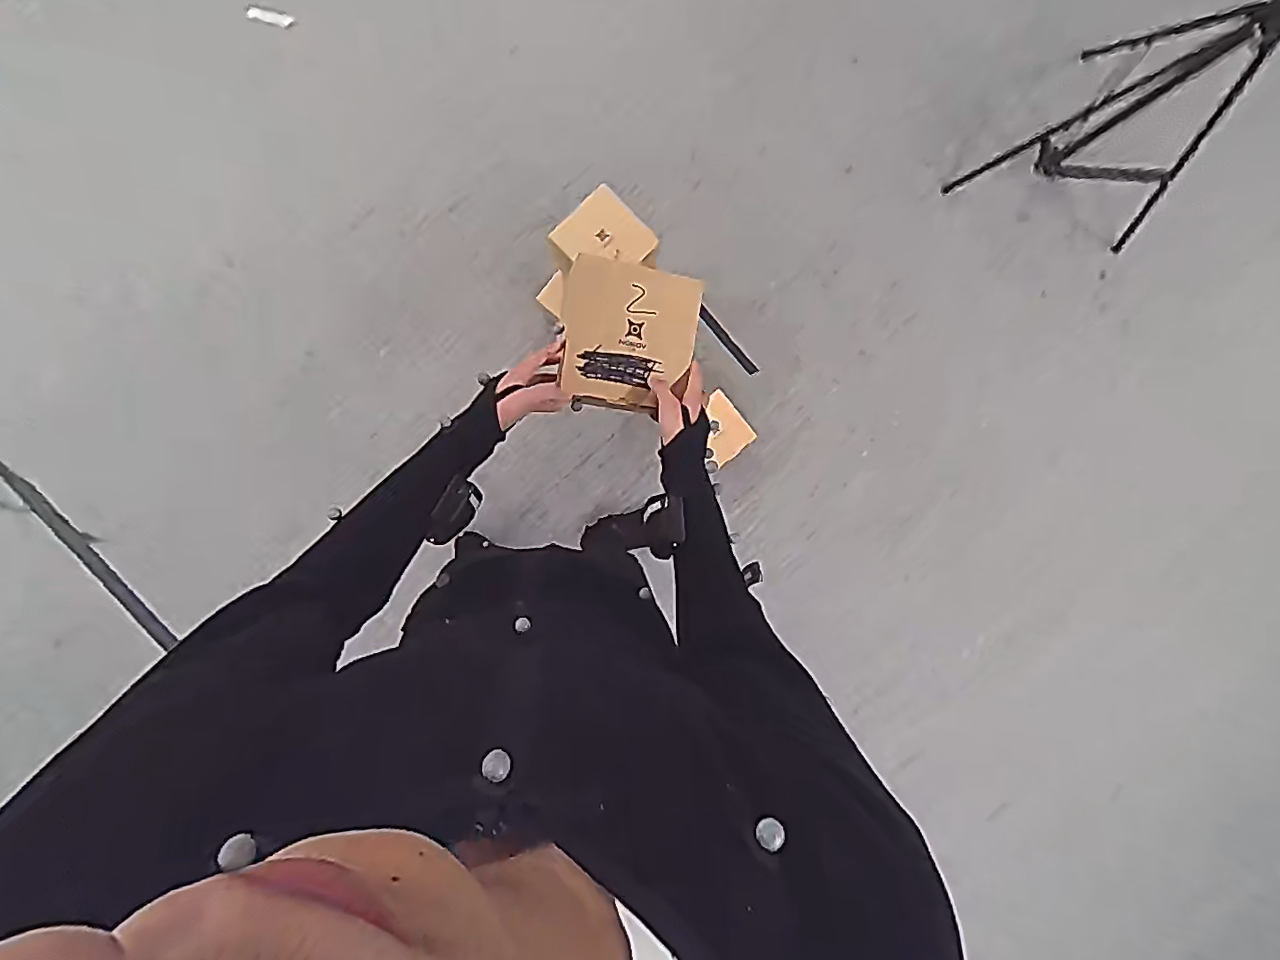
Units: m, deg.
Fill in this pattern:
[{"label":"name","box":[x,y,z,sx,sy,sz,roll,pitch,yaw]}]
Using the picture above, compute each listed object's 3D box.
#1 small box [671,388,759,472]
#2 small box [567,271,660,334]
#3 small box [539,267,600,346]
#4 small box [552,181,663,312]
[{"label":"small box","box":[0.206,-0.139,1.559,0.168,0.176,0.179,-39,95,-1]},{"label":"small box","box":[-0.073,-0.497,1.363,0.179,0.176,0.168,-36,93,-1]},{"label":"small box","box":[-0.161,-0.505,1.521,0.168,0.176,0.179,39,90,-3]},{"label":"small box","box":[-0.073,-0.504,1.198,0.168,0.176,0.179,-44,93,-1]}]
